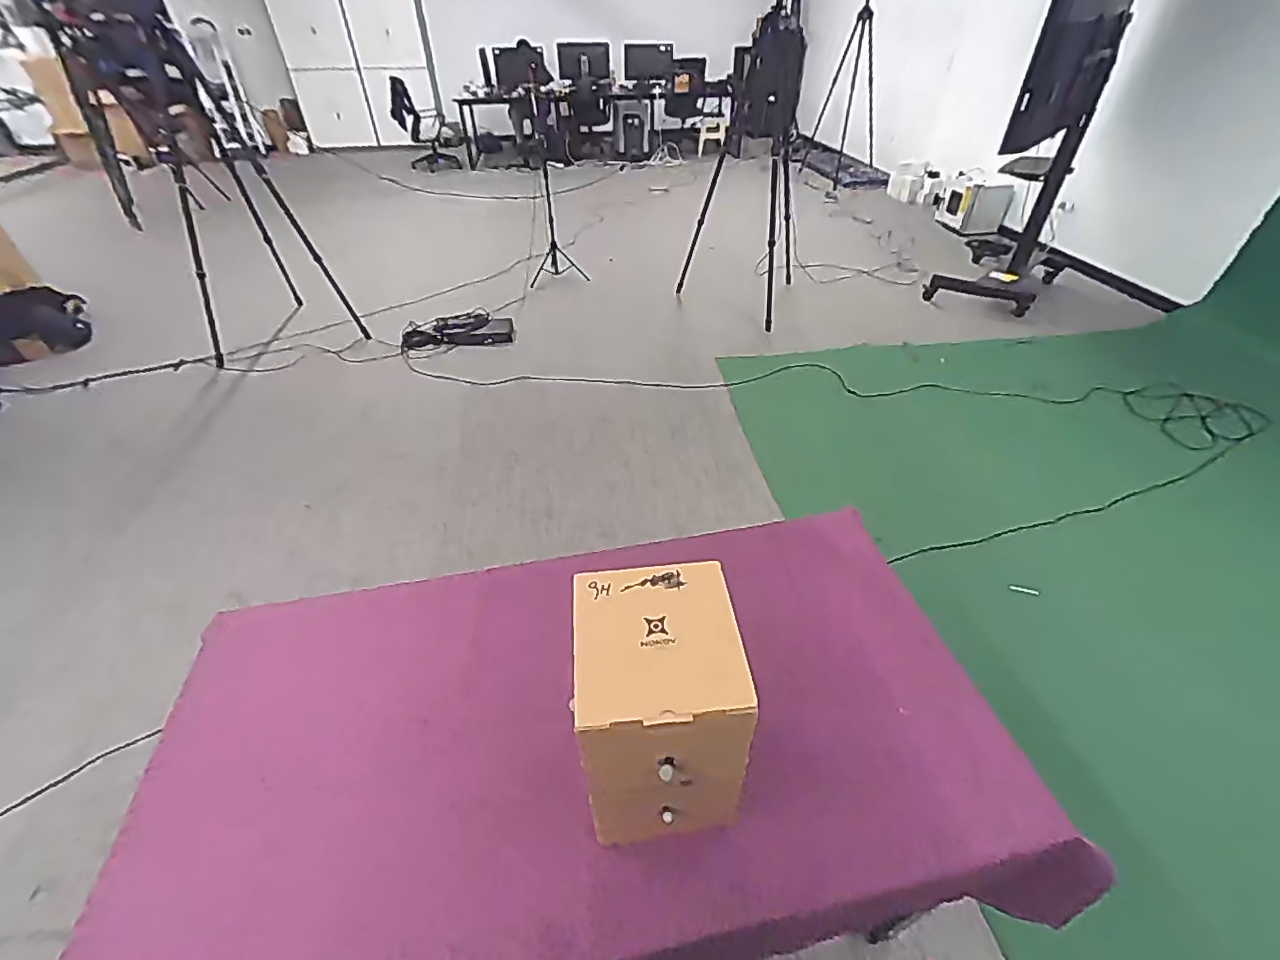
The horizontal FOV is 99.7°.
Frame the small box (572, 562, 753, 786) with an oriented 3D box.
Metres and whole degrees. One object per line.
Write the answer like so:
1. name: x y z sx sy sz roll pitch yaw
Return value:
1. small box: 0.017 0.215 0.591 0.168 0.176 0.179 -4 42 -3
